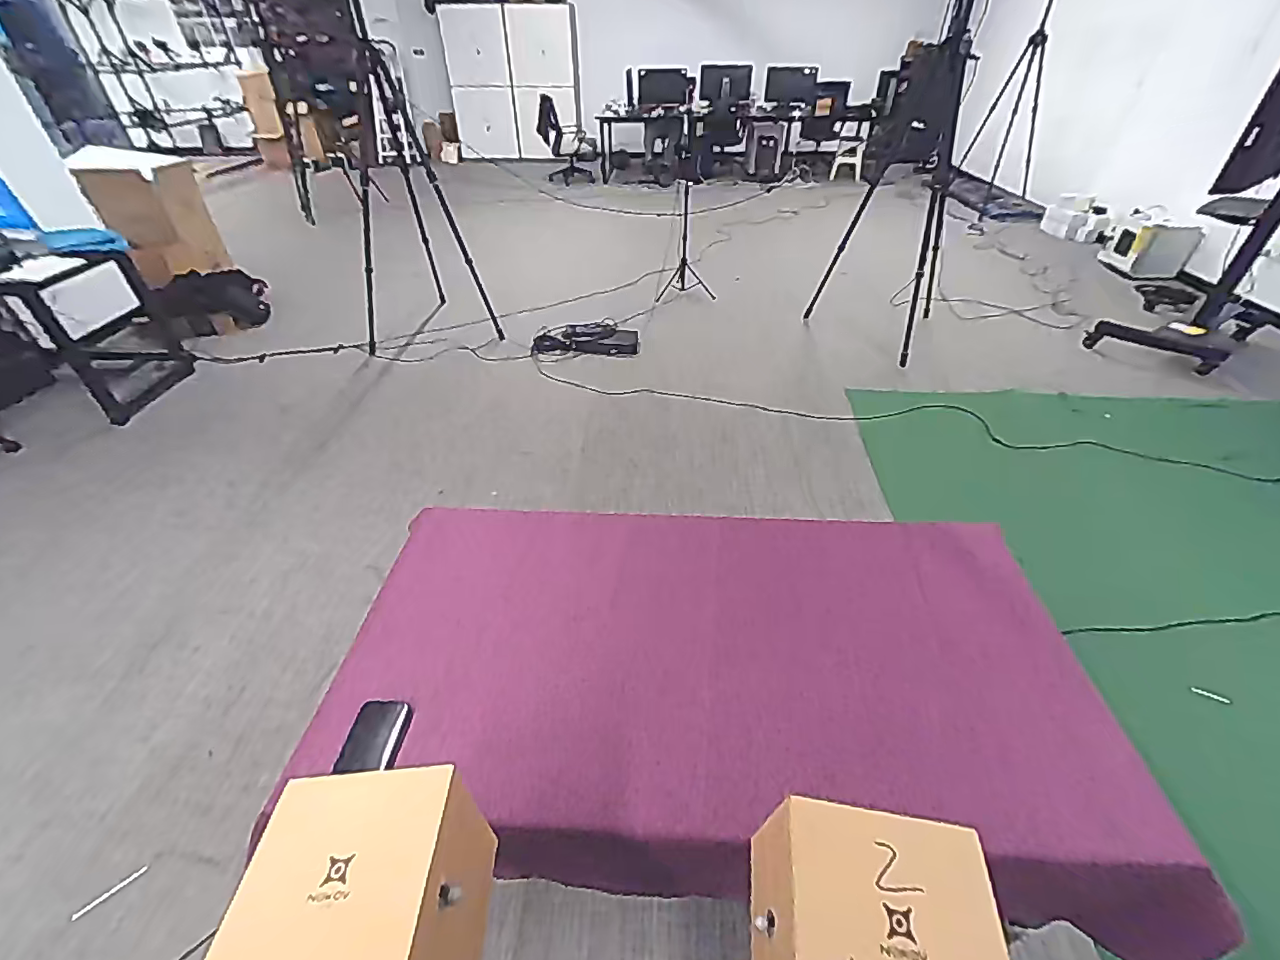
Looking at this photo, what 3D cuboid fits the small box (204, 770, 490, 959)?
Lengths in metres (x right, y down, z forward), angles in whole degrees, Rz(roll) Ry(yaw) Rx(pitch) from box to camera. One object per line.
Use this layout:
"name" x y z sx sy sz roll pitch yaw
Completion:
"small box" -0.247 0.398 0.498 0.168 0.176 0.179 -4 36 1
